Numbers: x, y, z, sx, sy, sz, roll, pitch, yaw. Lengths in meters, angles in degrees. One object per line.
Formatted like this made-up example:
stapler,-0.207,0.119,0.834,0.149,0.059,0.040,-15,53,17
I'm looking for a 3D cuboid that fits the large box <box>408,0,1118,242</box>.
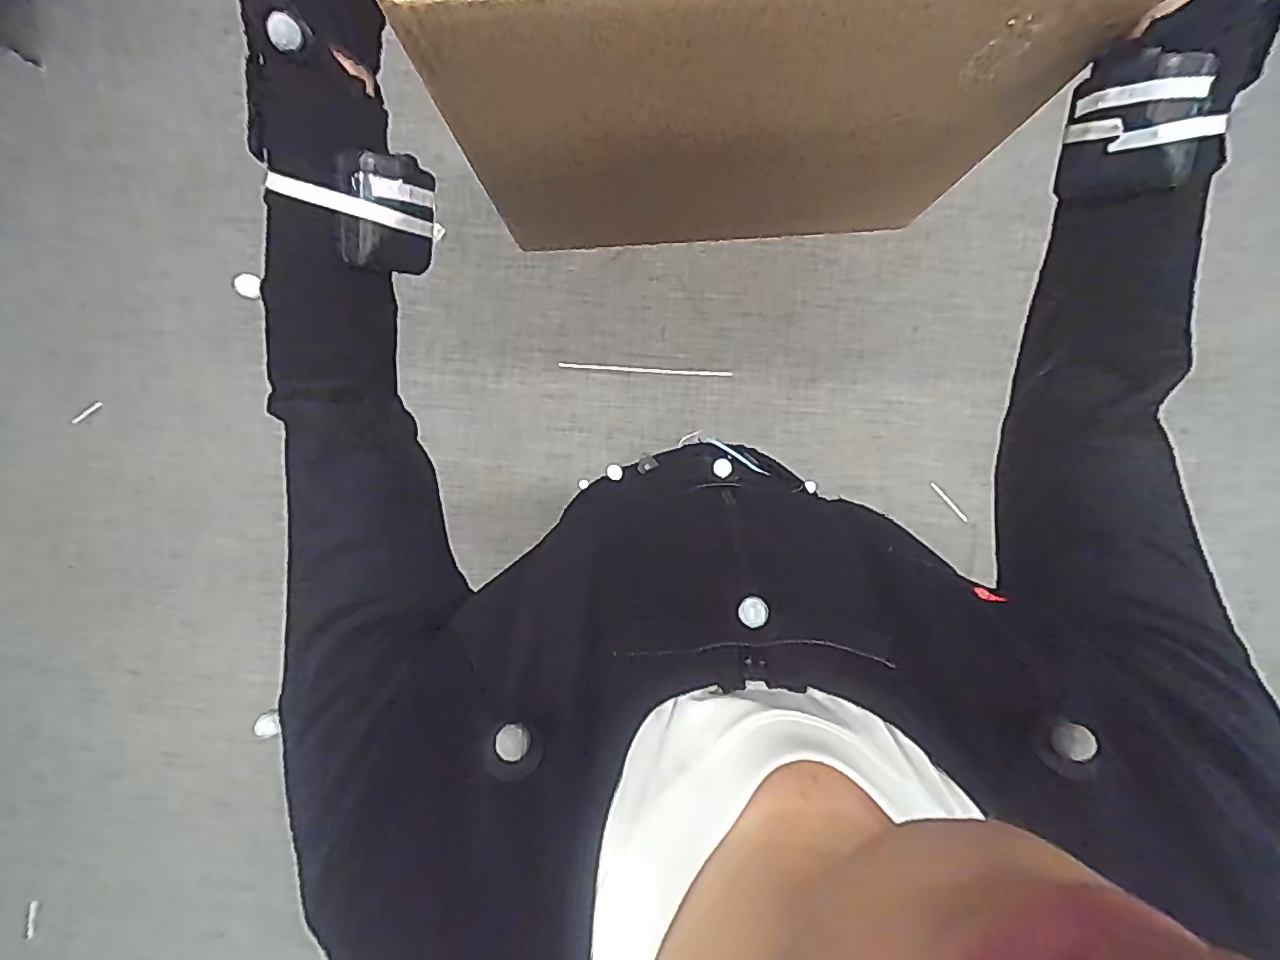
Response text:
large box,0.063,-0.405,0.408,0.408,0.320,0.320,-4,92,-1
